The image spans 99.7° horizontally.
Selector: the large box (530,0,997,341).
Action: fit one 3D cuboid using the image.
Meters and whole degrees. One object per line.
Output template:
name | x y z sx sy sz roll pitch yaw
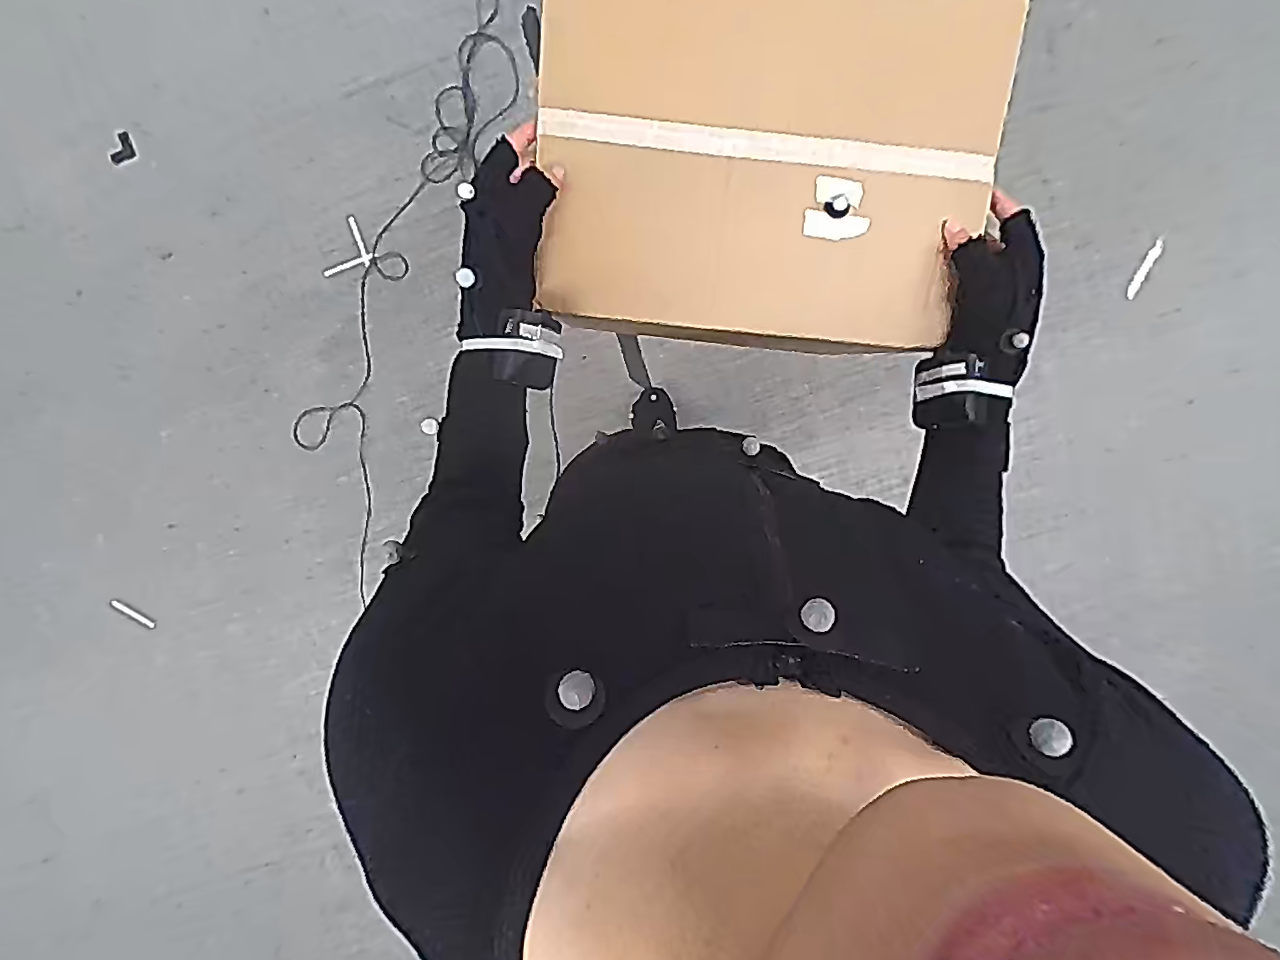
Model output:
large box | 0.098 -0.339 0.631 0.408 0.320 0.320 4 103 -2
